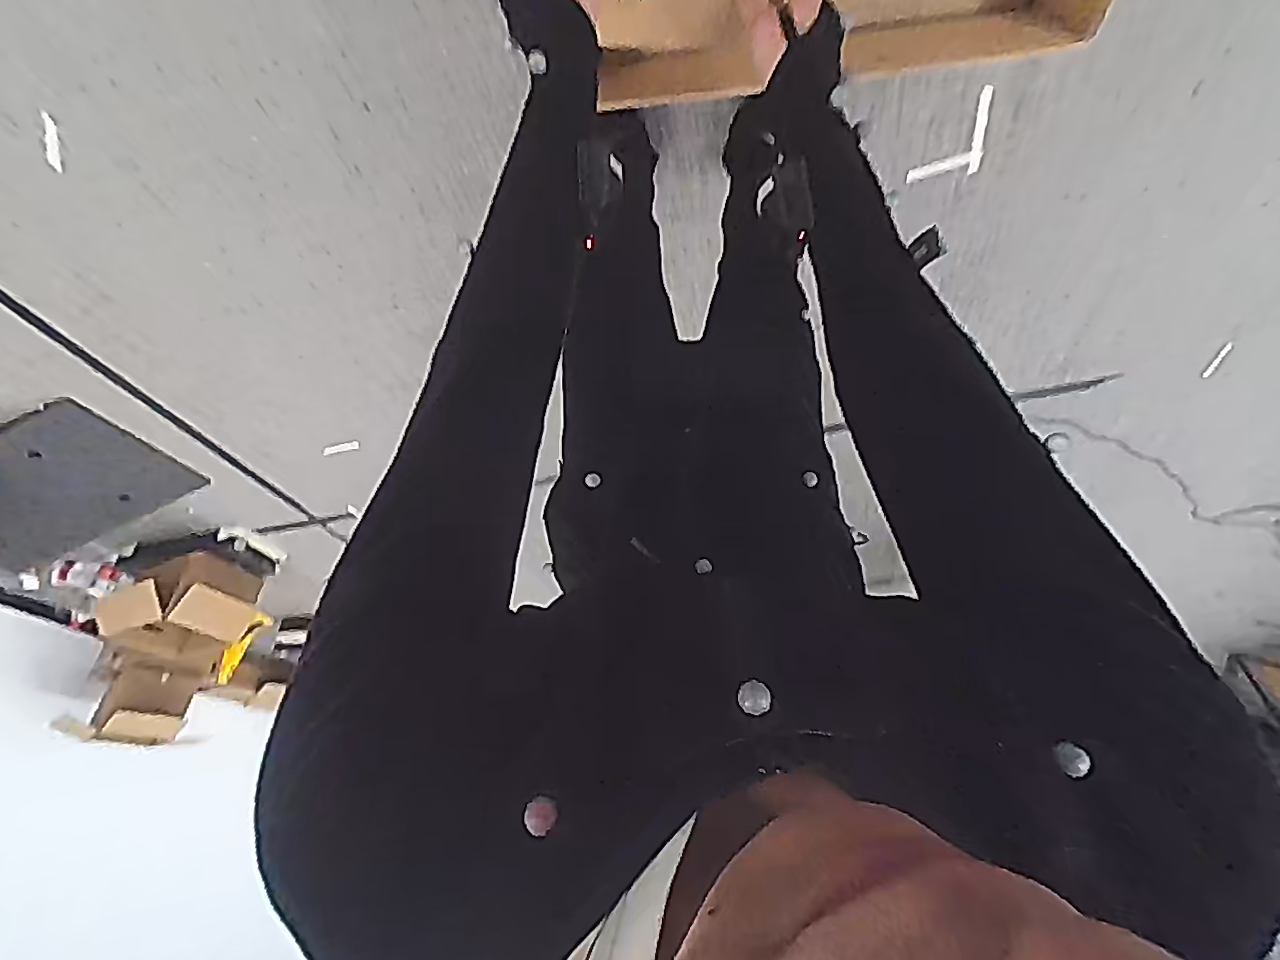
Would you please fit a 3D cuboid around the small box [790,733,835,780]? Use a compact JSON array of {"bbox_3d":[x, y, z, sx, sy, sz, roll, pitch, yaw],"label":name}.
[{"bbox_3d":[0.797,1.282,2.515,0.179,0.176,0.168,-10,141,10],"label":"small box"}]
